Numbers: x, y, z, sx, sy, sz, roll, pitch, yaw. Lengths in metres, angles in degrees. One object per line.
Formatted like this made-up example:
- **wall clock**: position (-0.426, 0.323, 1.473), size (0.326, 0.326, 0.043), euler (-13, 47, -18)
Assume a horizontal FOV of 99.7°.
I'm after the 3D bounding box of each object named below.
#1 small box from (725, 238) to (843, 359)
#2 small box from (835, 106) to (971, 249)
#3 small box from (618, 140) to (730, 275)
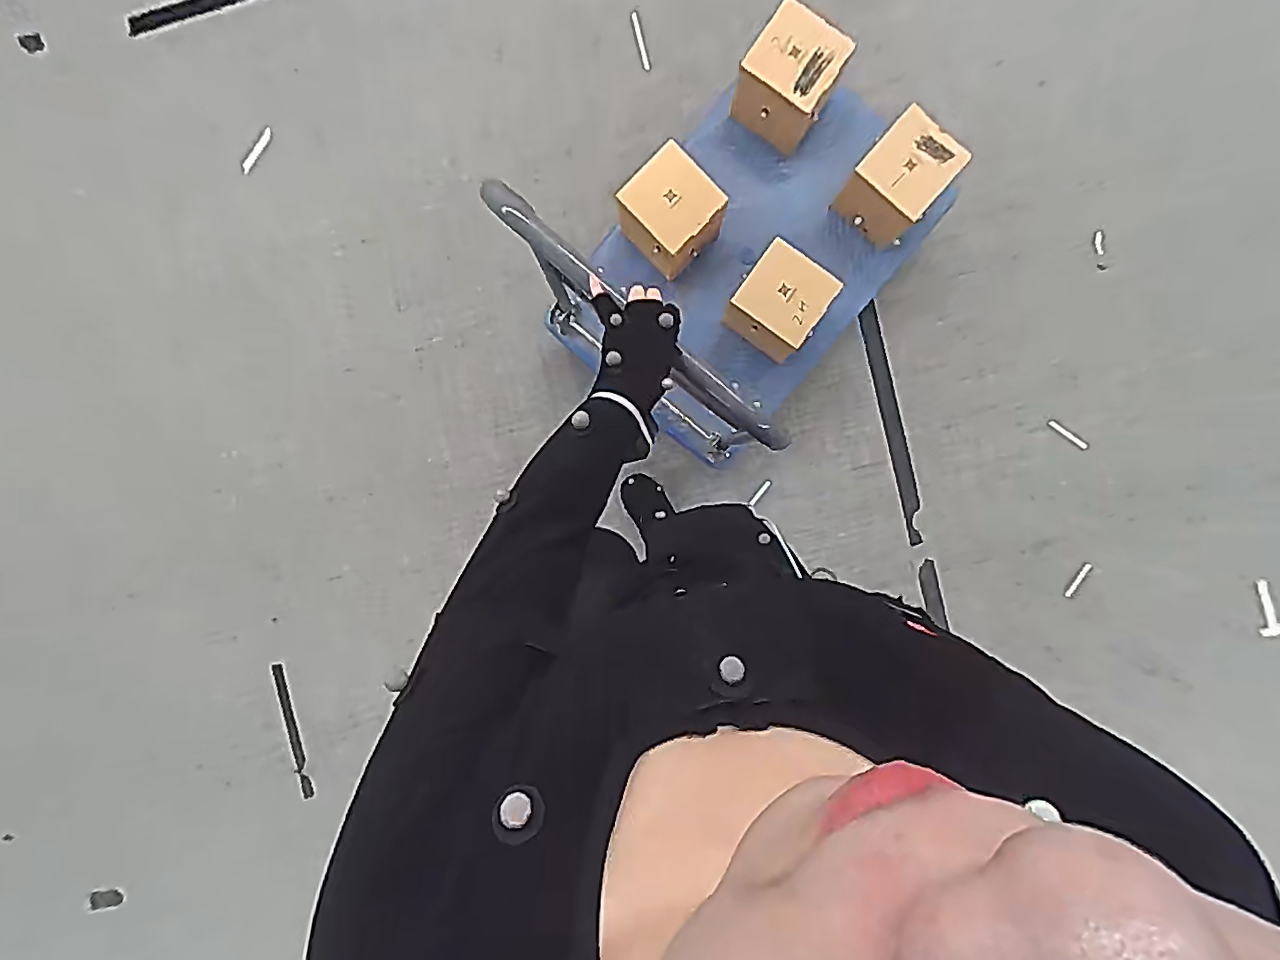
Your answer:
- **small box**: position (0.306, -0.390, 1.198), size (0.179, 0.176, 0.168), euler (37, 93, 0)
- **small box**: position (0.559, -0.646, 1.179), size (0.168, 0.176, 0.179), euler (42, 94, -1)
- **small box**: position (0.069, -0.588, 1.196), size (0.168, 0.176, 0.179), euler (-44, 93, 3)
